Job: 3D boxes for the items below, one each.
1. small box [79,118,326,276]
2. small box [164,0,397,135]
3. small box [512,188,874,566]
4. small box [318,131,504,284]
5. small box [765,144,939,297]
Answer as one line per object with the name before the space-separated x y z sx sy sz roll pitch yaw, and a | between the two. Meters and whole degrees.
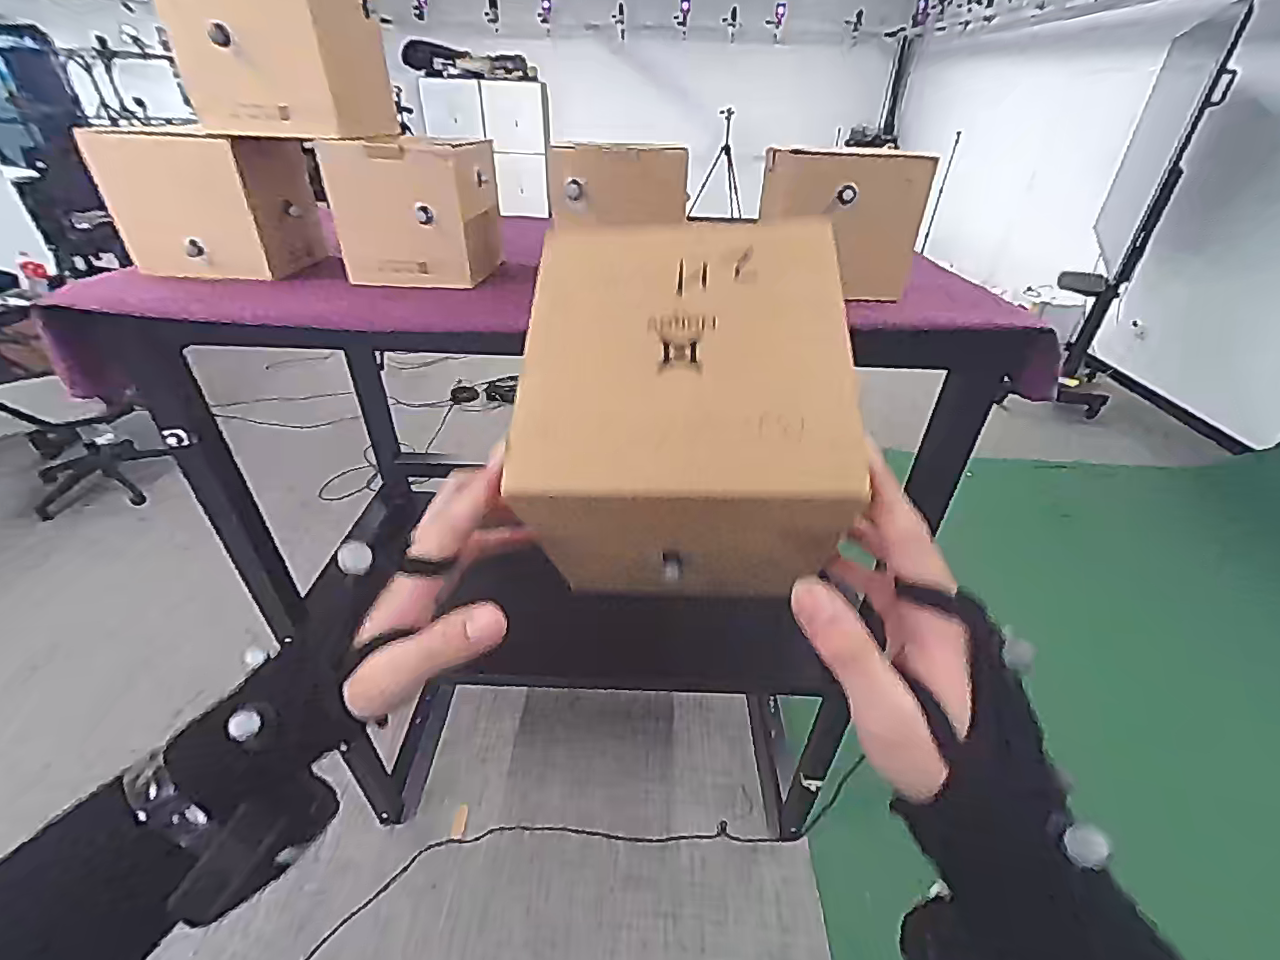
small box | -0.564 -0.383 0.733 0.179 0.176 0.168 2 34 -2
small box | -0.416 -0.516 0.649 0.168 0.176 0.179 2 34 0
small box | 0.034 -0.051 0.346 0.168 0.176 0.179 1 64 6
small box | -0.291 -0.373 0.737 0.168 0.176 0.179 3 34 2
small box | 0.262 -0.354 0.733 0.179 0.176 0.168 2 34 1
